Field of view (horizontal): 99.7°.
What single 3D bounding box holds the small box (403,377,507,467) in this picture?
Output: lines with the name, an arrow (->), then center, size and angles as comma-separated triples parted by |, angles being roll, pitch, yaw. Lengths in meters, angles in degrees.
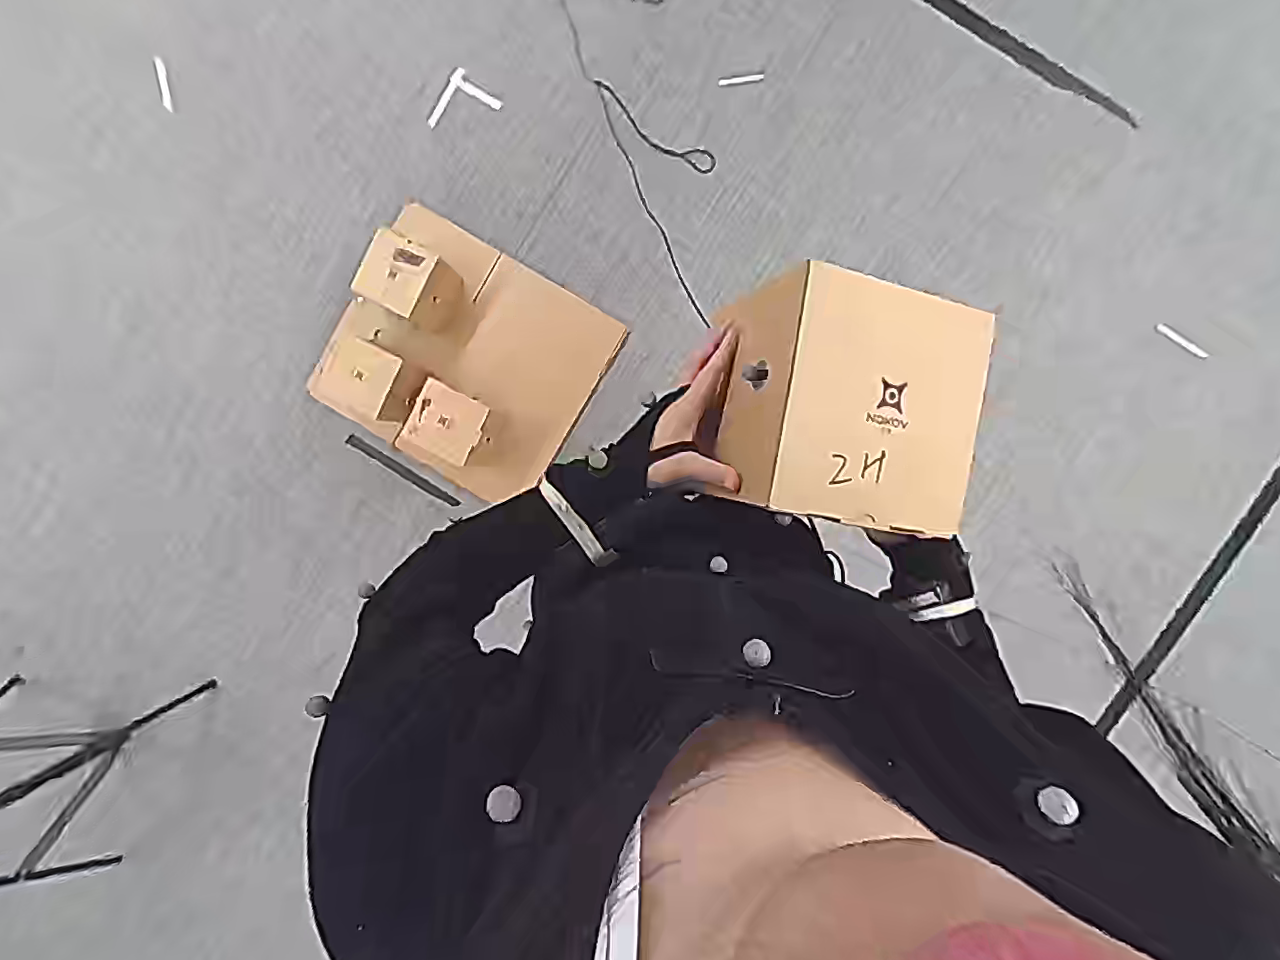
small box -> -0.468, -0.147, 1.398 | 0.179, 0.176, 0.168 | 27, 92, -1

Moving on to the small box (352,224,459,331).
small box -> -0.590, -0.510, 1.390 | 0.168, 0.176, 0.179 | 27, 93, 0

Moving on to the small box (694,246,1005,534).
small box -> 0.158, -0.063, 0.456 | 0.168, 0.176, 0.179 | 9, 92, -16
